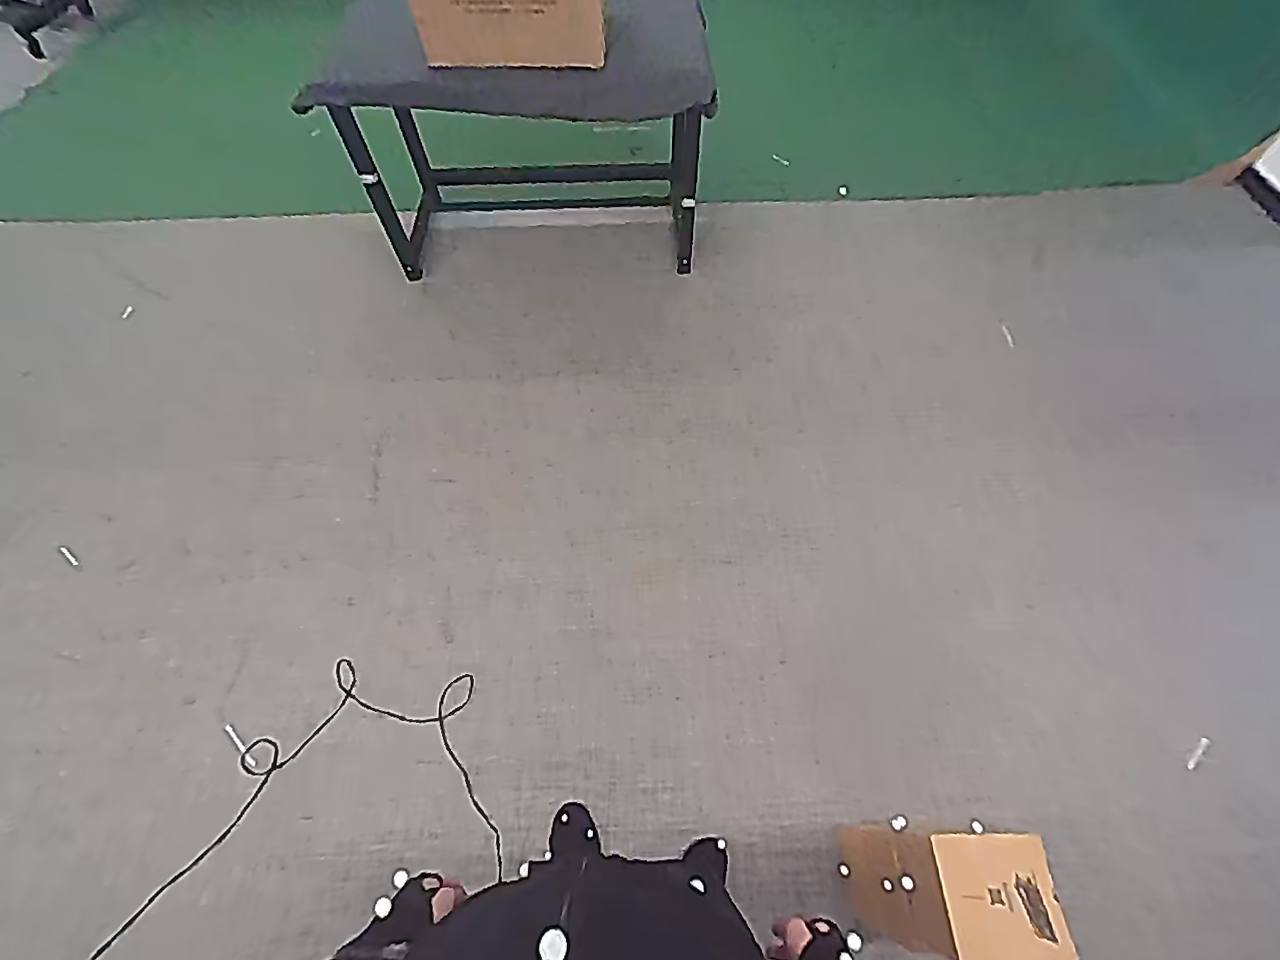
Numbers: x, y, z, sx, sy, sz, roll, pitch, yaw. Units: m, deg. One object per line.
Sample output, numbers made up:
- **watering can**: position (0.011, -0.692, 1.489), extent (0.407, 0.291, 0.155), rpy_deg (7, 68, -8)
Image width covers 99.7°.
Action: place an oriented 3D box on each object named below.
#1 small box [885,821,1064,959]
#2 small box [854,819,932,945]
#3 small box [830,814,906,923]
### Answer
- **small box**: position (0.543, 0.674, 0.907), extent (0.179, 0.176, 0.168), rpy_deg (0, 60, 1)
- **small box**: position (0.536, 0.764, 1.047), extent (0.168, 0.176, 0.179), rpy_deg (-2, 63, -1)
- **small box**: position (0.535, 0.844, 1.187), extent (0.168, 0.176, 0.179), rpy_deg (0, 61, -1)
